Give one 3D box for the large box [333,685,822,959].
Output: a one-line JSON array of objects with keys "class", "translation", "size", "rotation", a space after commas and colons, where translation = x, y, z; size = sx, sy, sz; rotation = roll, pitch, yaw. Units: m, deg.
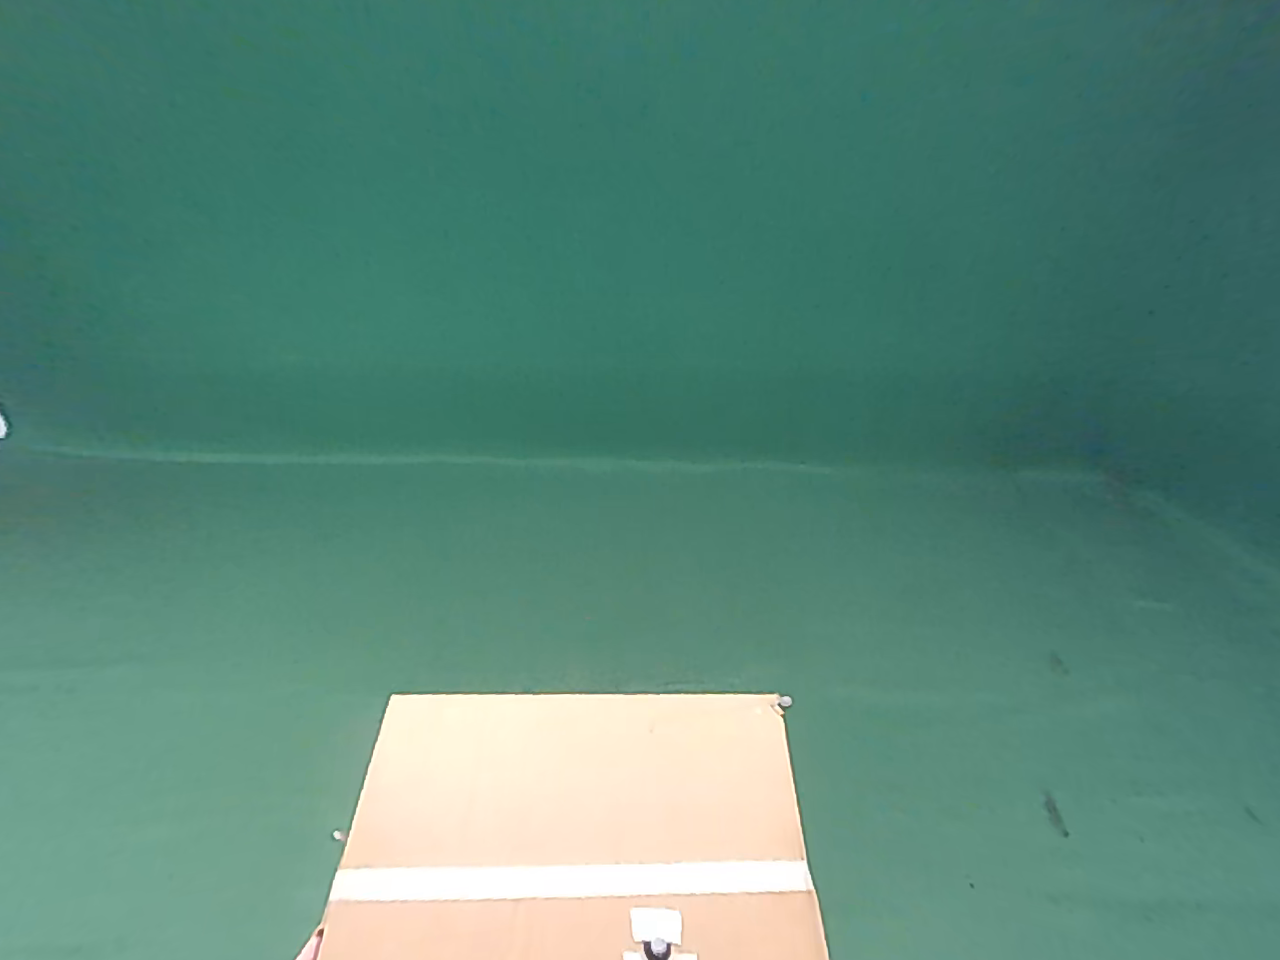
[{"class": "large box", "translation": [-0.058, 0.435, 0.592], "size": [0.408, 0.320, 0.320], "rotation": [1, 51, -3]}]
